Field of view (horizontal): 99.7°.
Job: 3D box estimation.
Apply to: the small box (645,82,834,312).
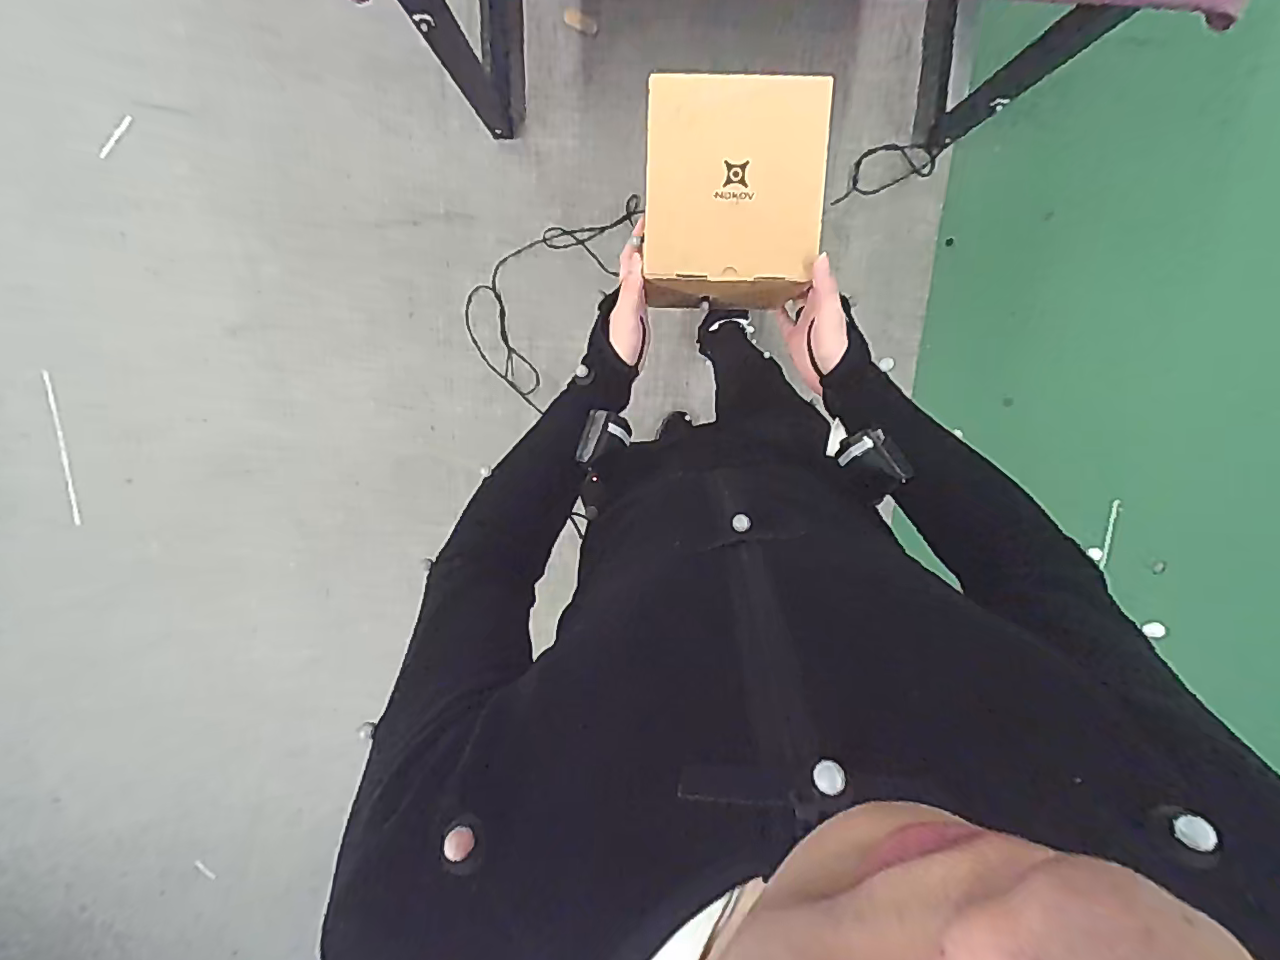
[{"bbox_3d":[0.091,-0.283,0.578,0.168,0.176,0.179,1,101,0],"label":"small box"}]
